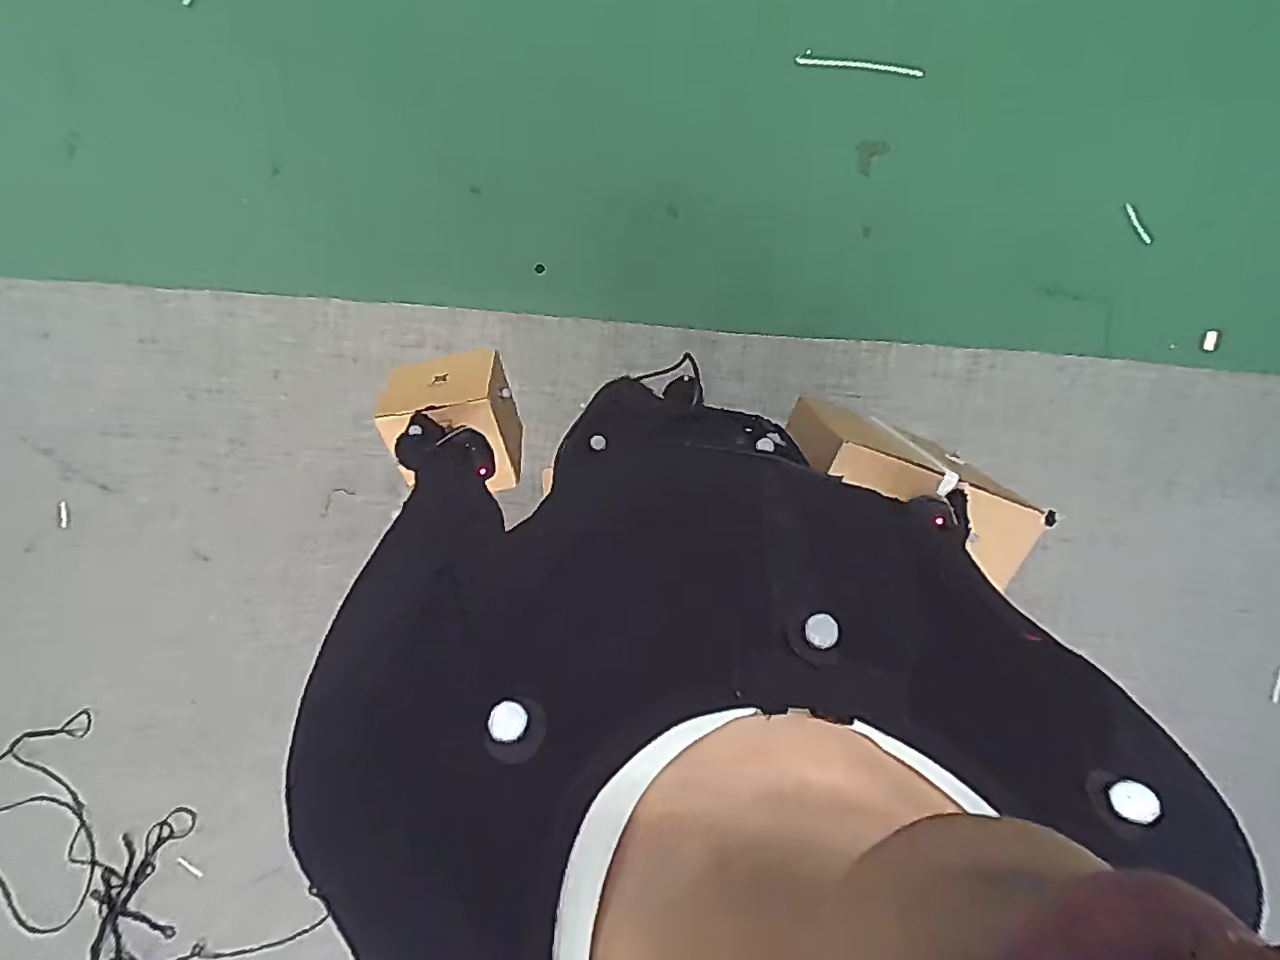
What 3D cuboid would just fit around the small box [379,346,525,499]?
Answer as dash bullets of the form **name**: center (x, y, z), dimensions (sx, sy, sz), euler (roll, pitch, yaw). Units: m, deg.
- **small box**: center (-0.292, -0.095, 0.884), dimensions (0.168, 0.179, 0.176), euler (-11, 130, -1)
